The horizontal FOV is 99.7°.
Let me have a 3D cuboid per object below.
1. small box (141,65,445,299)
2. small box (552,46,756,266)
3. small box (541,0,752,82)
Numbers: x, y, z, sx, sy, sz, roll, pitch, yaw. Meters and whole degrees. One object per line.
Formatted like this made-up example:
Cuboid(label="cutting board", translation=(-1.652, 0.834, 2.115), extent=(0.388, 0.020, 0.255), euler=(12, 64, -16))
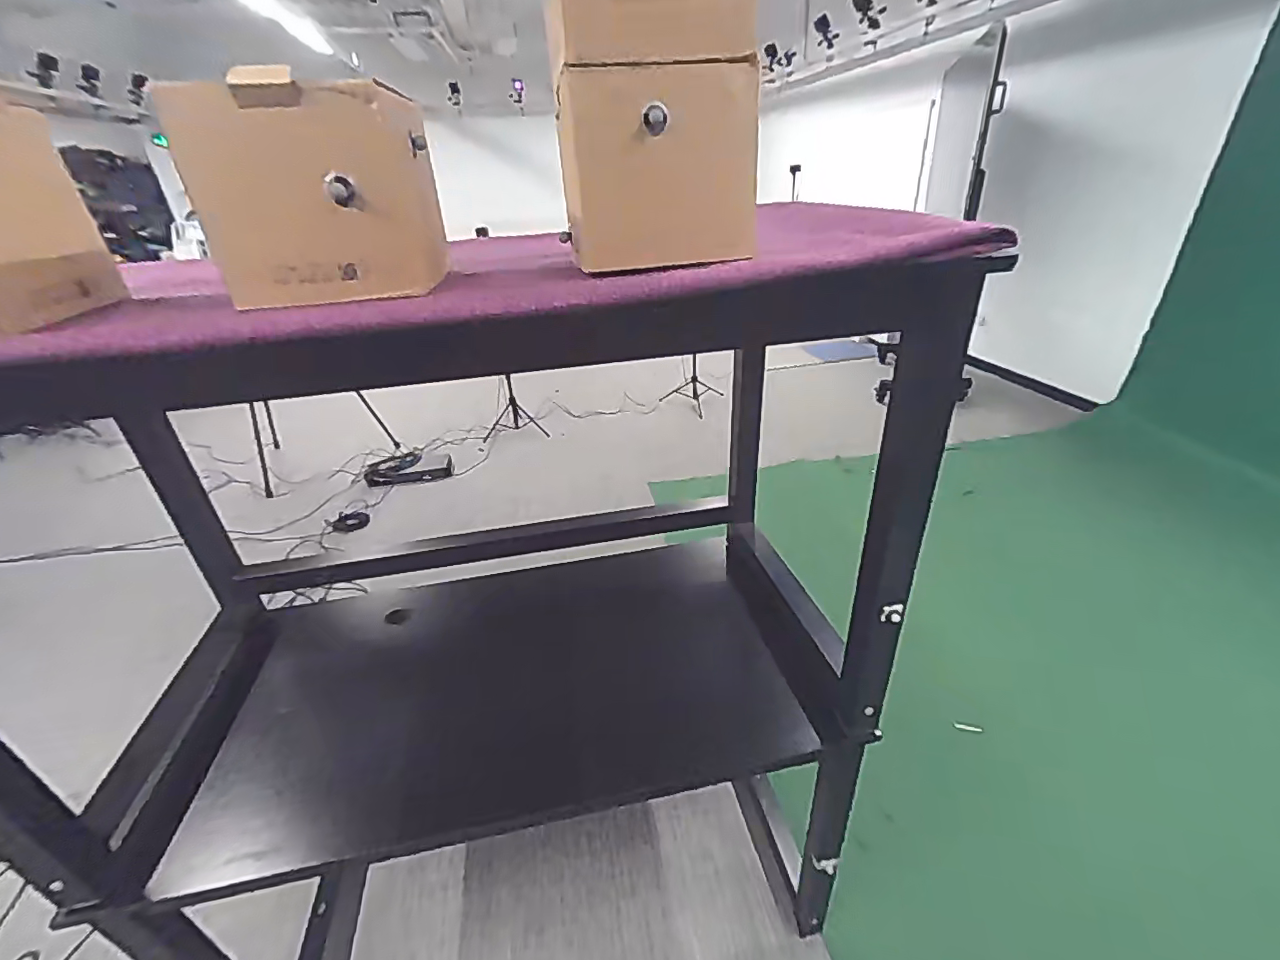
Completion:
Cuboid(label="small box", translation=(-0.294, -0.271, 0.513), extent=(0.168, 0.176, 0.179), euler=(-6, 29, -7))
Cuboid(label="small box", translation=(0.010, -0.323, 0.565), extent=(0.179, 0.176, 0.168), euler=(-8, 27, -9))
Cuboid(label="small box", translation=(-0.003, -0.469, 0.495), extent=(0.179, 0.176, 0.168), euler=(-8, 27, -8))
